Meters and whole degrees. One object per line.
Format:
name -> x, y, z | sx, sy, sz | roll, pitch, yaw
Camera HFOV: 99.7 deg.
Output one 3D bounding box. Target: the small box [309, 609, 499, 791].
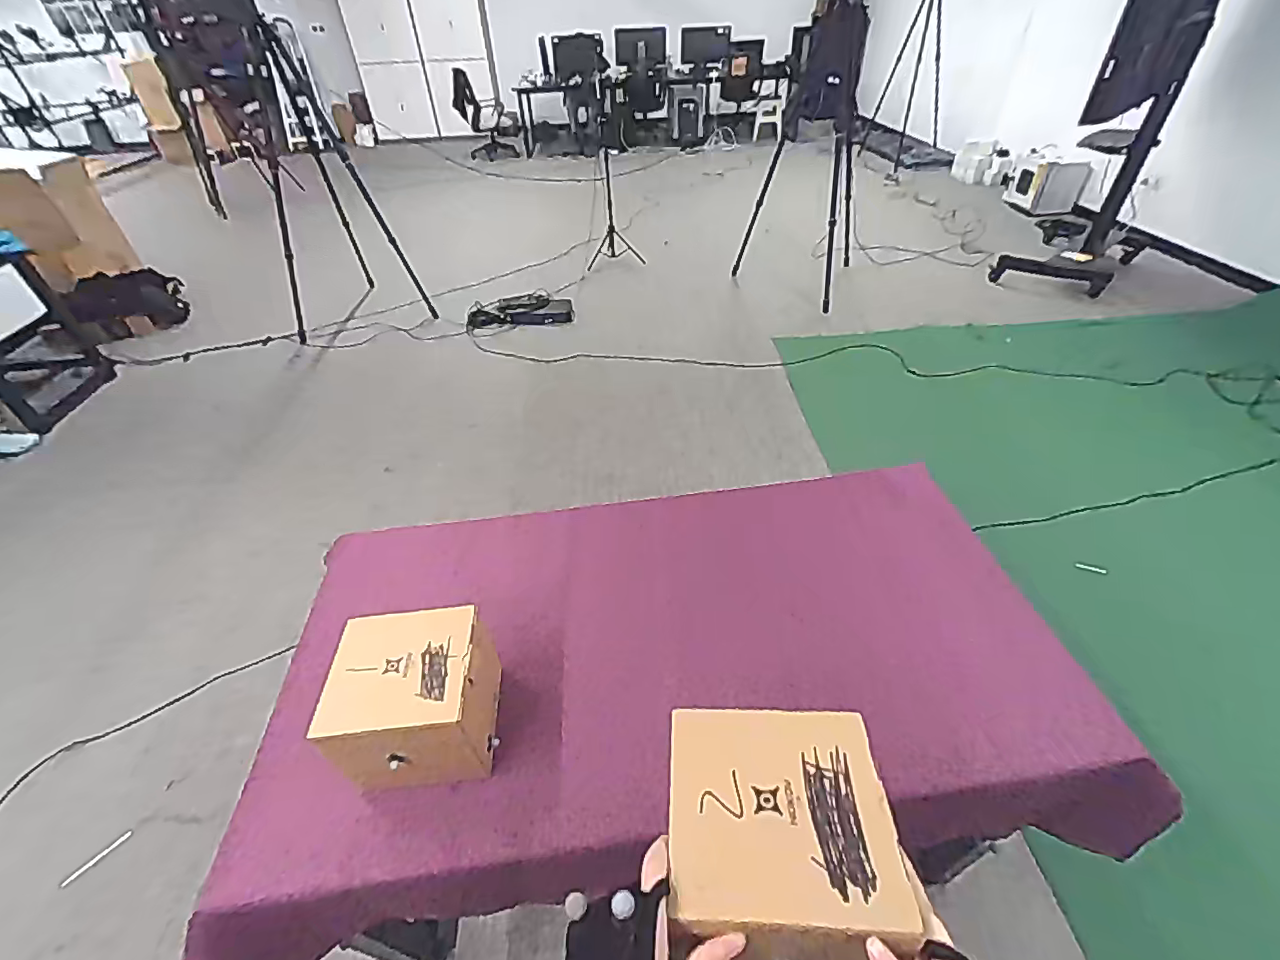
small box -> -0.297, 0.298, 0.733 | 0.179, 0.176, 0.168 | -6, 41, -2
